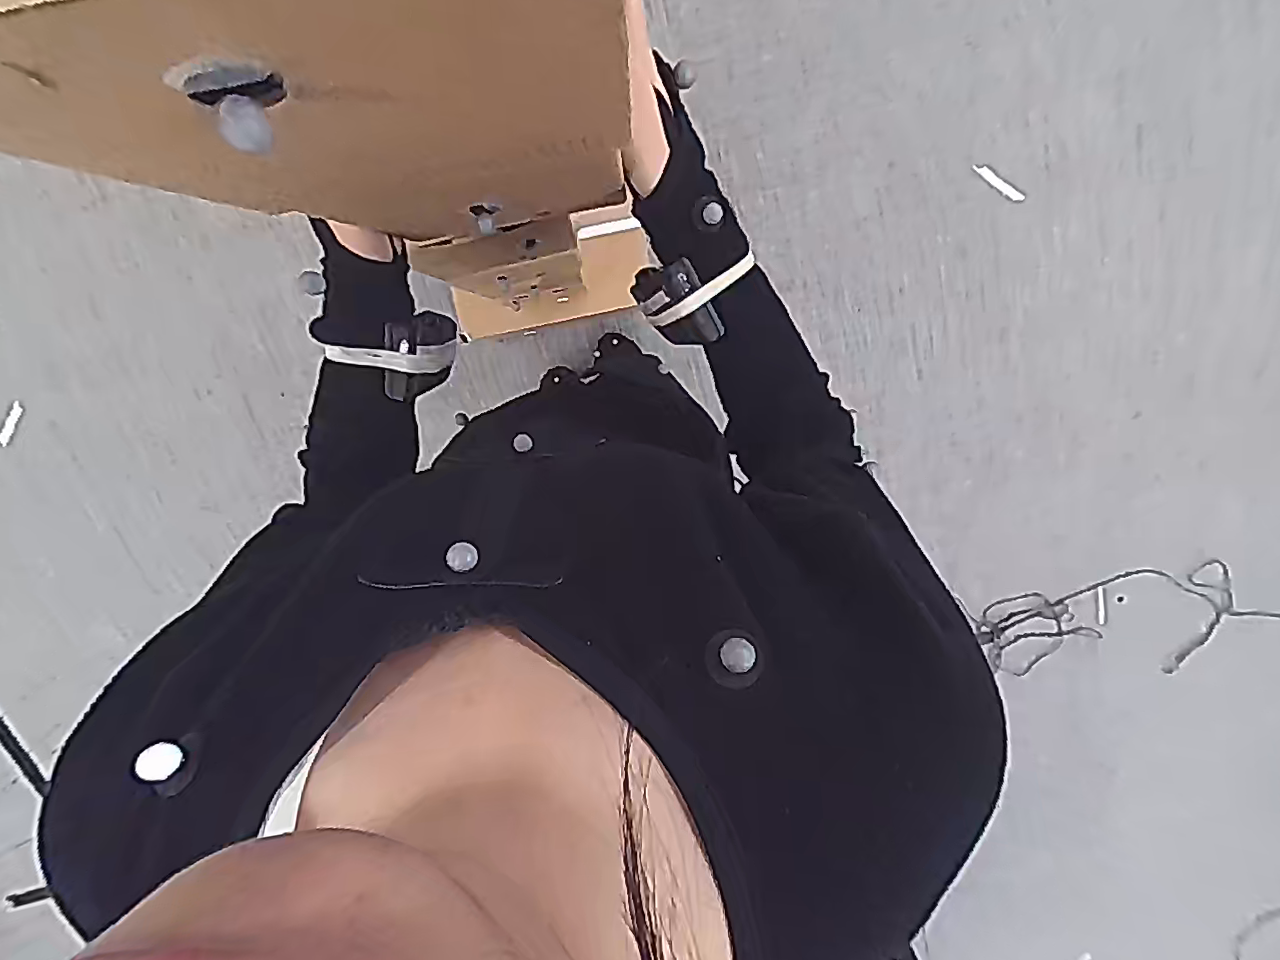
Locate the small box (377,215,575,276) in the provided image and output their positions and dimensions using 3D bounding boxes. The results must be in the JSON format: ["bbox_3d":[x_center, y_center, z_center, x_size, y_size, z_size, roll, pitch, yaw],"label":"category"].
[{"bbox_3d":[-0.163,-0.307,0.524,0.168,0.176,0.179,-15,103,-1],"label":"small box"}]

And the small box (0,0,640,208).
[{"bbox_3d":[-0.097,-0.186,0.147,0.179,0.176,0.168,-9,109,2],"label":"small box"}]

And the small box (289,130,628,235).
[{"bbox_3d":[-0.100,-0.244,0.301,0.168,0.176,0.179,-9,108,3],"label":"small box"}]

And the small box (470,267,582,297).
[{"bbox_3d":[-0.187,-0.386,0.838,0.168,0.176,0.179,-12,106,-1],"label":"small box"}]

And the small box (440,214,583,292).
[{"bbox_3d":[-0.172,-0.343,0.682,0.168,0.176,0.179,-14,104,0],"label":"small box"}]
